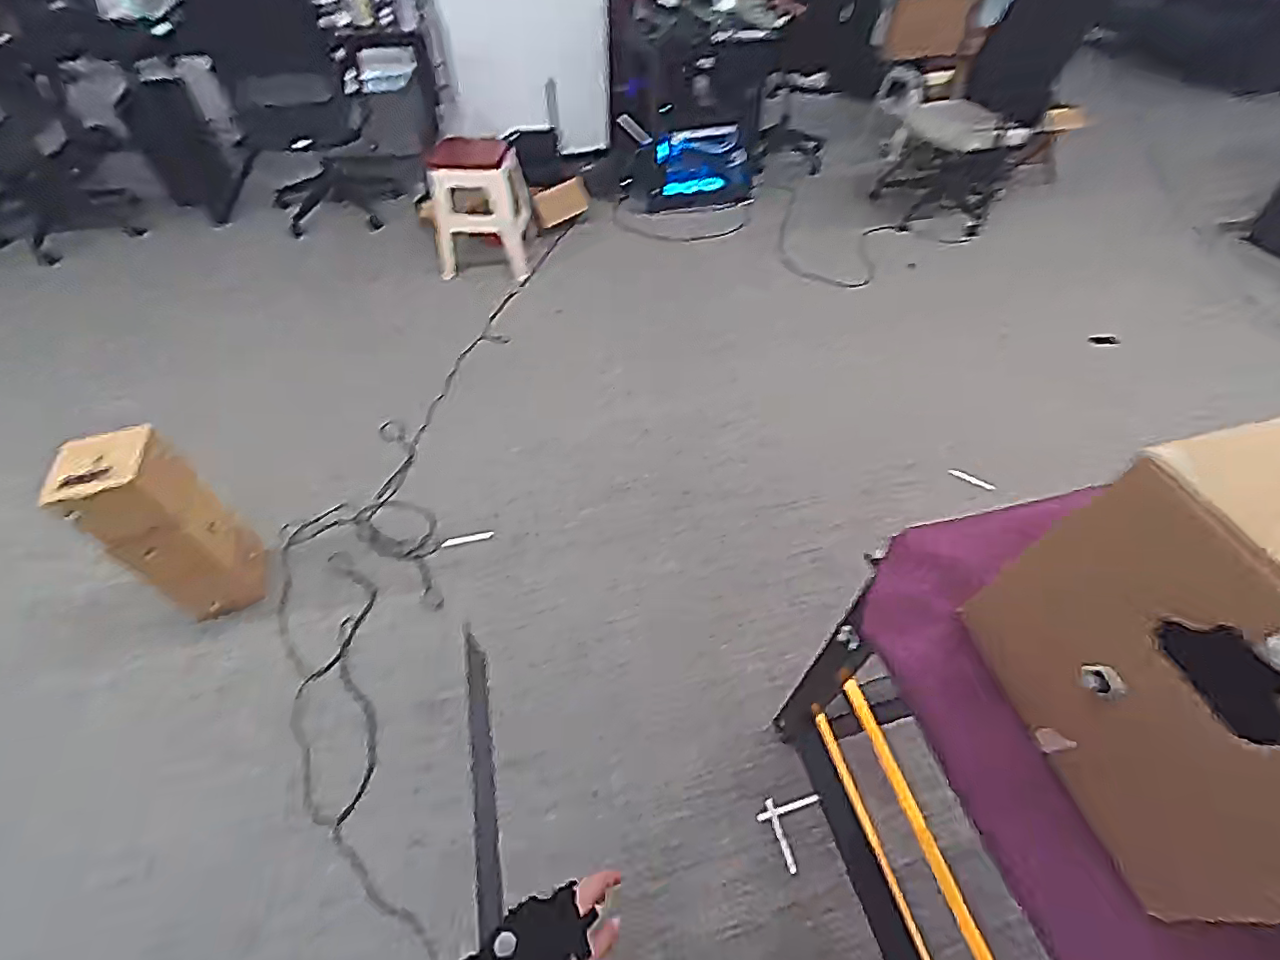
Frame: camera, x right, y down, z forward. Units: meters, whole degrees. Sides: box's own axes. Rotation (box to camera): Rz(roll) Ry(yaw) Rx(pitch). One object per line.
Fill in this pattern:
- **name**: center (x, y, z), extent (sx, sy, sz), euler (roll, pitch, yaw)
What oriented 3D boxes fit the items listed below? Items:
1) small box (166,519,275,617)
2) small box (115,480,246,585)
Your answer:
- **small box**: center (-1.106, 0.234, 1.442), extent (0.168, 0.176, 0.179), euler (-17, 53, -12)
- **small box**: center (-1.103, 0.130, 1.318), extent (0.179, 0.176, 0.168), euler (-15, 53, -11)
